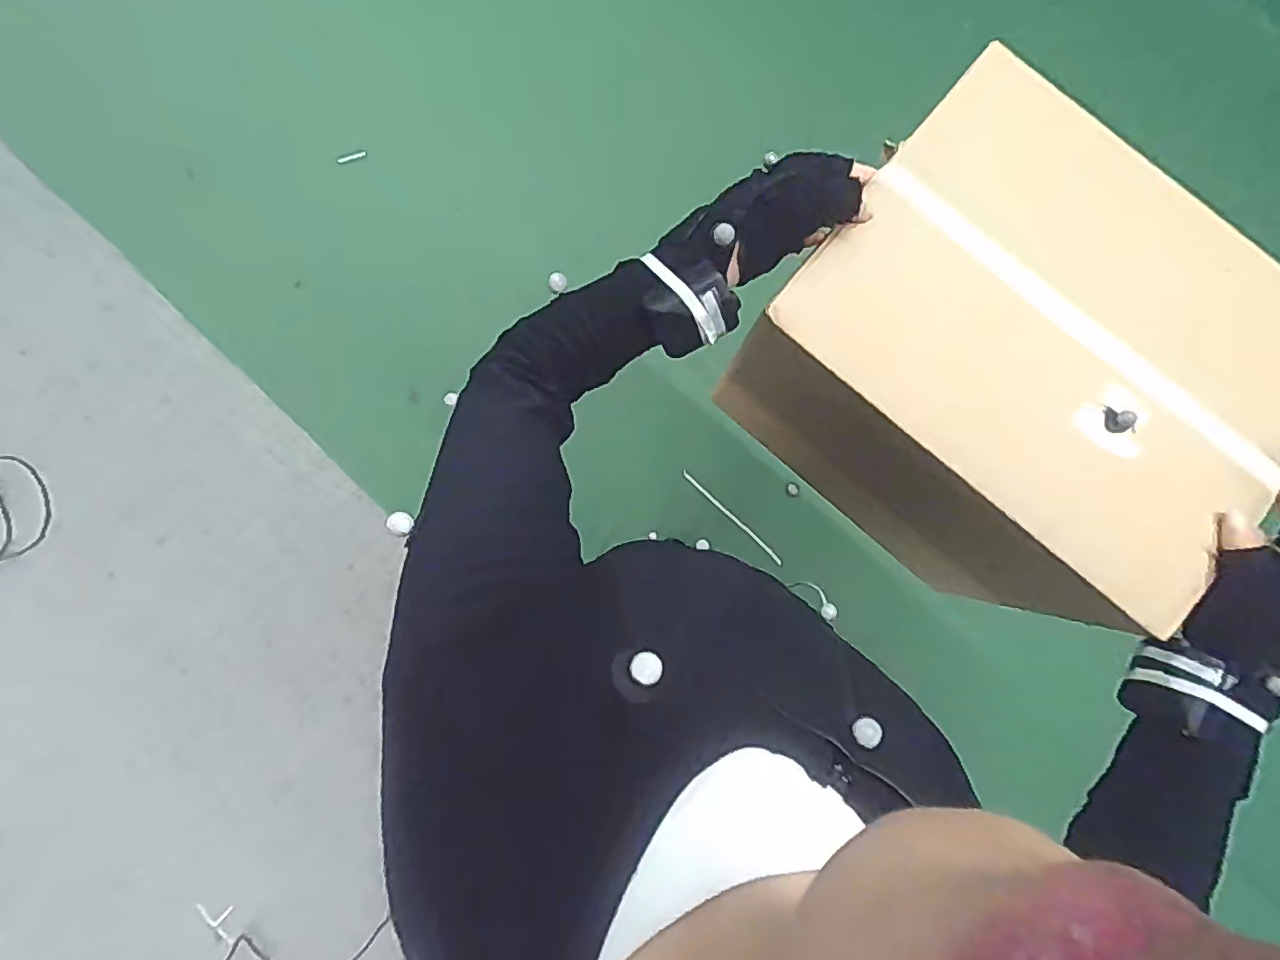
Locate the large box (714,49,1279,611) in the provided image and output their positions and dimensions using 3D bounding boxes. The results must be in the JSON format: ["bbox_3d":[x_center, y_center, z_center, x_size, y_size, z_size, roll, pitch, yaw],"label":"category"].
[{"bbox_3d":[0.346,-0.123,0.594,0.408,0.320,0.320,40,87,2],"label":"large box"}]
